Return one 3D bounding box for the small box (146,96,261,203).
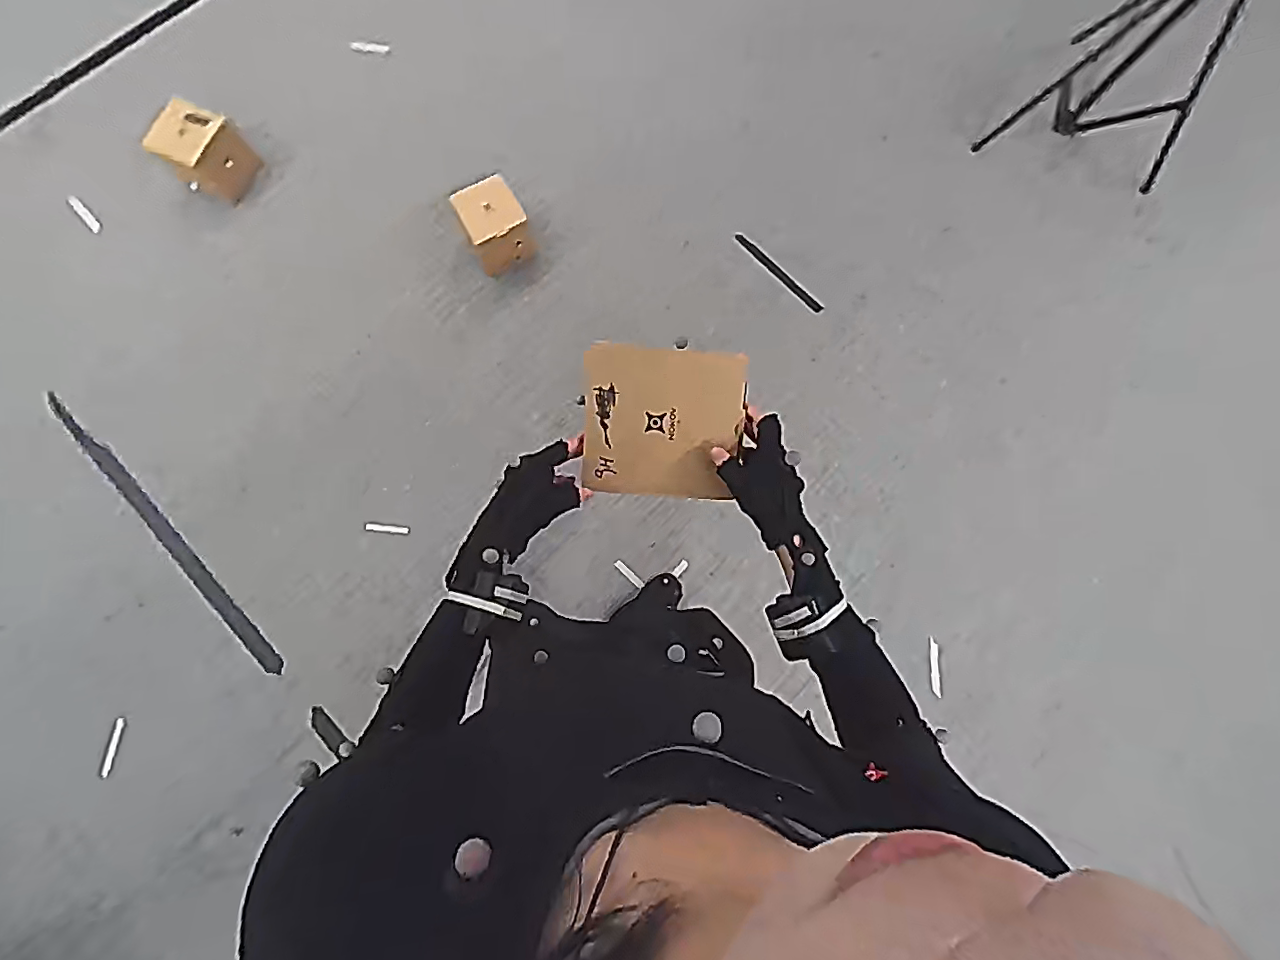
[{"bbox_3d":[-1.269,-0.965,1.591,0.168,0.176,0.179,24,81,2],"label":"small box"}]

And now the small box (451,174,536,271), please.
[{"bbox_3d":[-0.424,-0.747,1.596,0.168,0.176,0.179,-30,82,-9],"label":"small box"}]

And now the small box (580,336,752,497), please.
[{"bbox_3d":[0.025,-0.085,0.656,0.179,0.176,0.168,4,104,-1],"label":"small box"}]
